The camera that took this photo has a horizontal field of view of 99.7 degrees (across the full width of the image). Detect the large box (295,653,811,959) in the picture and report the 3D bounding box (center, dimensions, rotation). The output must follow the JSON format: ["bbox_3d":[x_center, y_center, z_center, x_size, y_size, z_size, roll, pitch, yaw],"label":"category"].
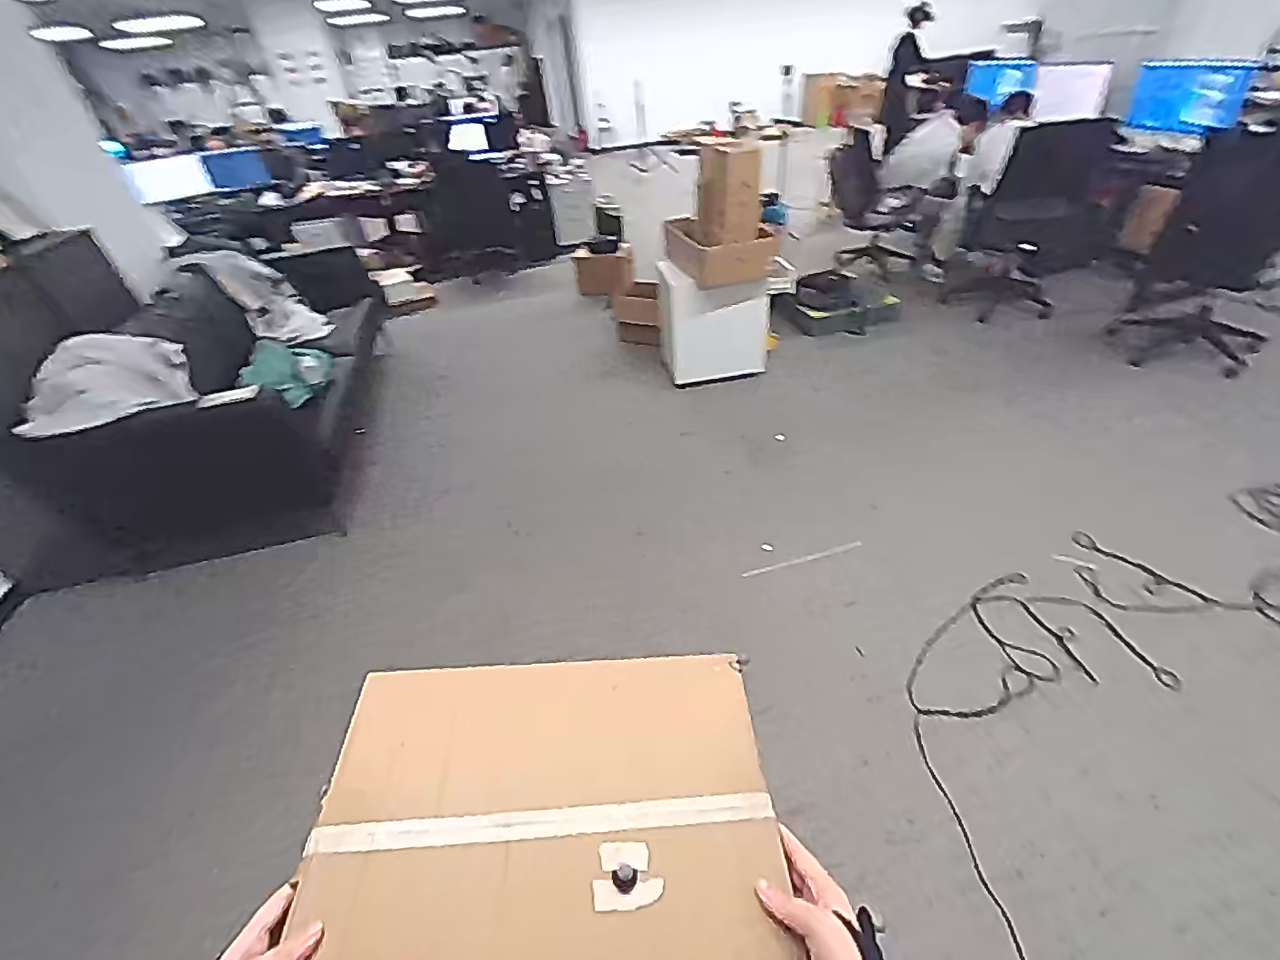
[{"bbox_3d":[-0.080,0.416,0.592,0.408,0.320,0.320,0,42,-4],"label":"large box"}]
